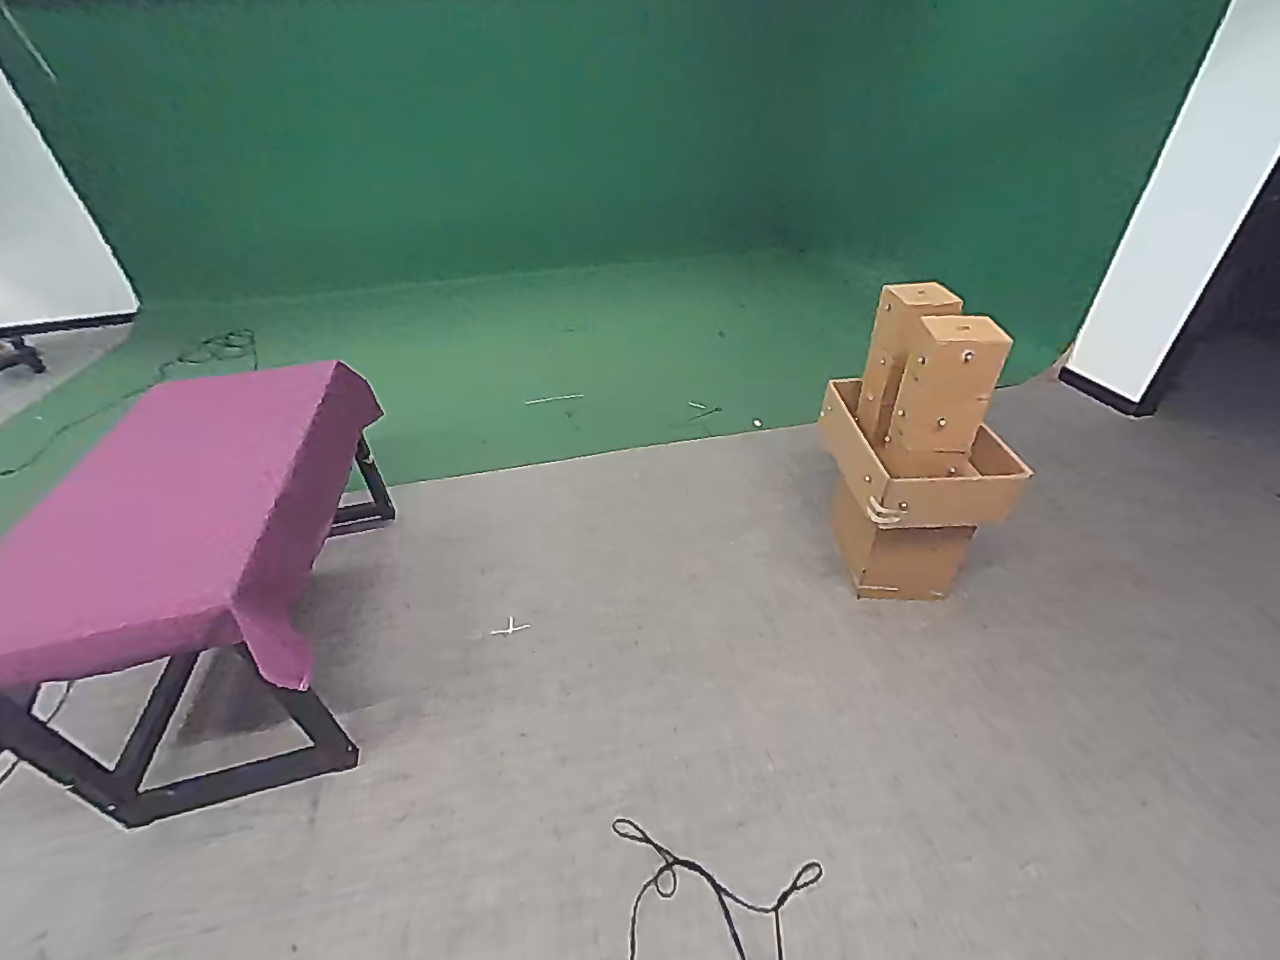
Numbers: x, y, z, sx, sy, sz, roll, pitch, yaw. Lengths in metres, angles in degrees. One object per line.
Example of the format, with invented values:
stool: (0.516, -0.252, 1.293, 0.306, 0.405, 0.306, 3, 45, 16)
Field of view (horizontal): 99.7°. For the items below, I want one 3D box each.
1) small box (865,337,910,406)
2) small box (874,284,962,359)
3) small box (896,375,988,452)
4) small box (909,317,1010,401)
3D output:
small box: (0.856, -0.358, 1.764, 0.168, 0.176, 0.179, -4, 38, 1)
small box: (0.843, -0.488, 1.663, 0.168, 0.176, 0.179, -4, 38, 1)
small box: (0.845, -0.190, 1.537, 0.179, 0.176, 0.168, 1, 37, 7)
small box: (0.835, -0.322, 1.440, 0.179, 0.176, 0.168, 3, 38, 8)
